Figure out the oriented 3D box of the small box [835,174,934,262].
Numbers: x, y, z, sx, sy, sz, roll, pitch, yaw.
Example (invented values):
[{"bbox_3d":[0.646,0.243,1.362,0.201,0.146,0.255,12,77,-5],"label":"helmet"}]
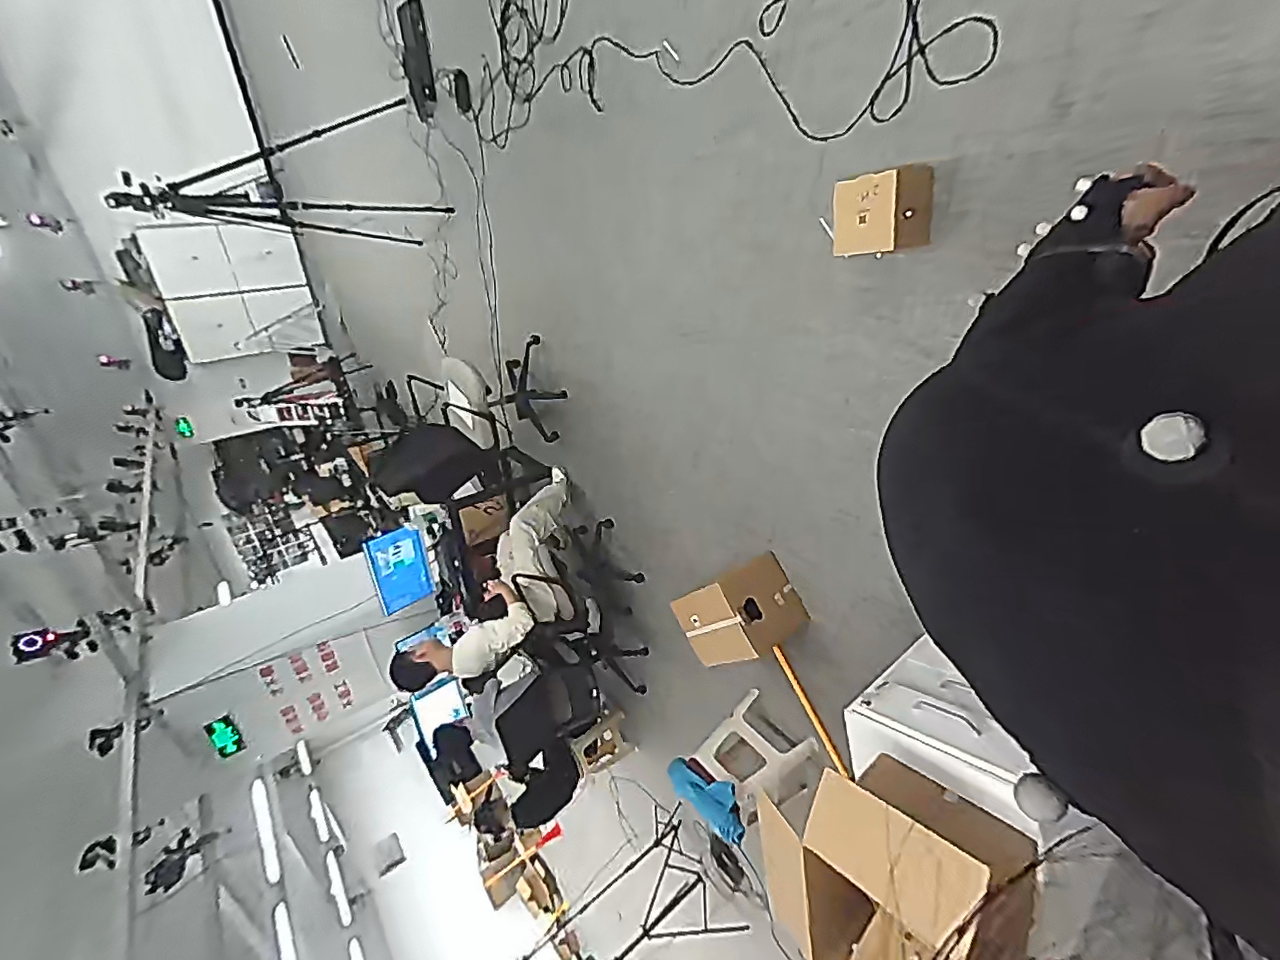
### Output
[{"bbox_3d":[0.613,-0.655,1.357,0.168,0.176,0.179,19,124,50],"label":"small box"}]
